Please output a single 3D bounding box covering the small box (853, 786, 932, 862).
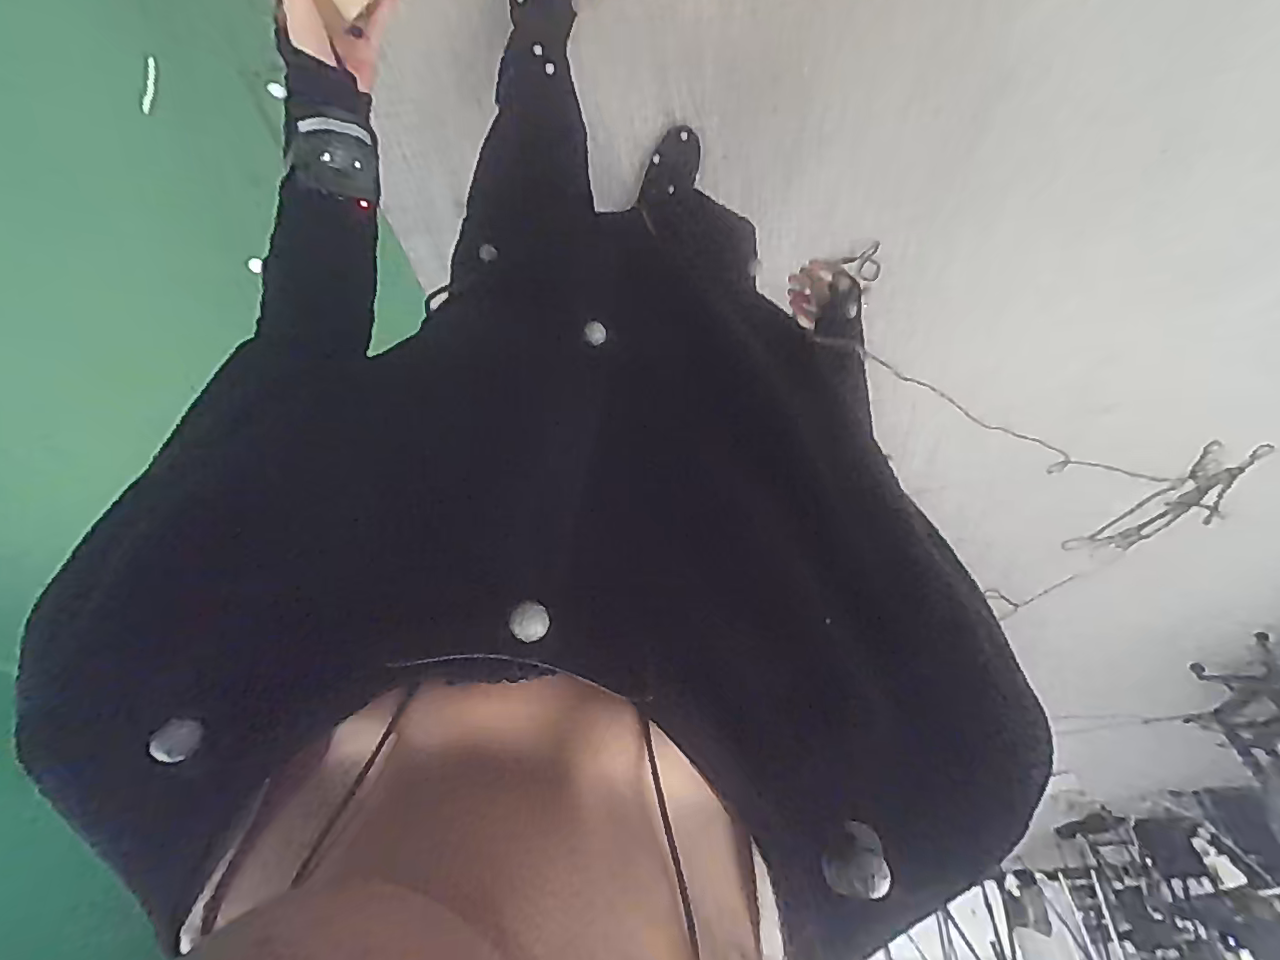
[{"bbox_3d":[0.771,1.060,1.672,0.168,0.176,0.179,-7,135,6],"label":"small box"}]
